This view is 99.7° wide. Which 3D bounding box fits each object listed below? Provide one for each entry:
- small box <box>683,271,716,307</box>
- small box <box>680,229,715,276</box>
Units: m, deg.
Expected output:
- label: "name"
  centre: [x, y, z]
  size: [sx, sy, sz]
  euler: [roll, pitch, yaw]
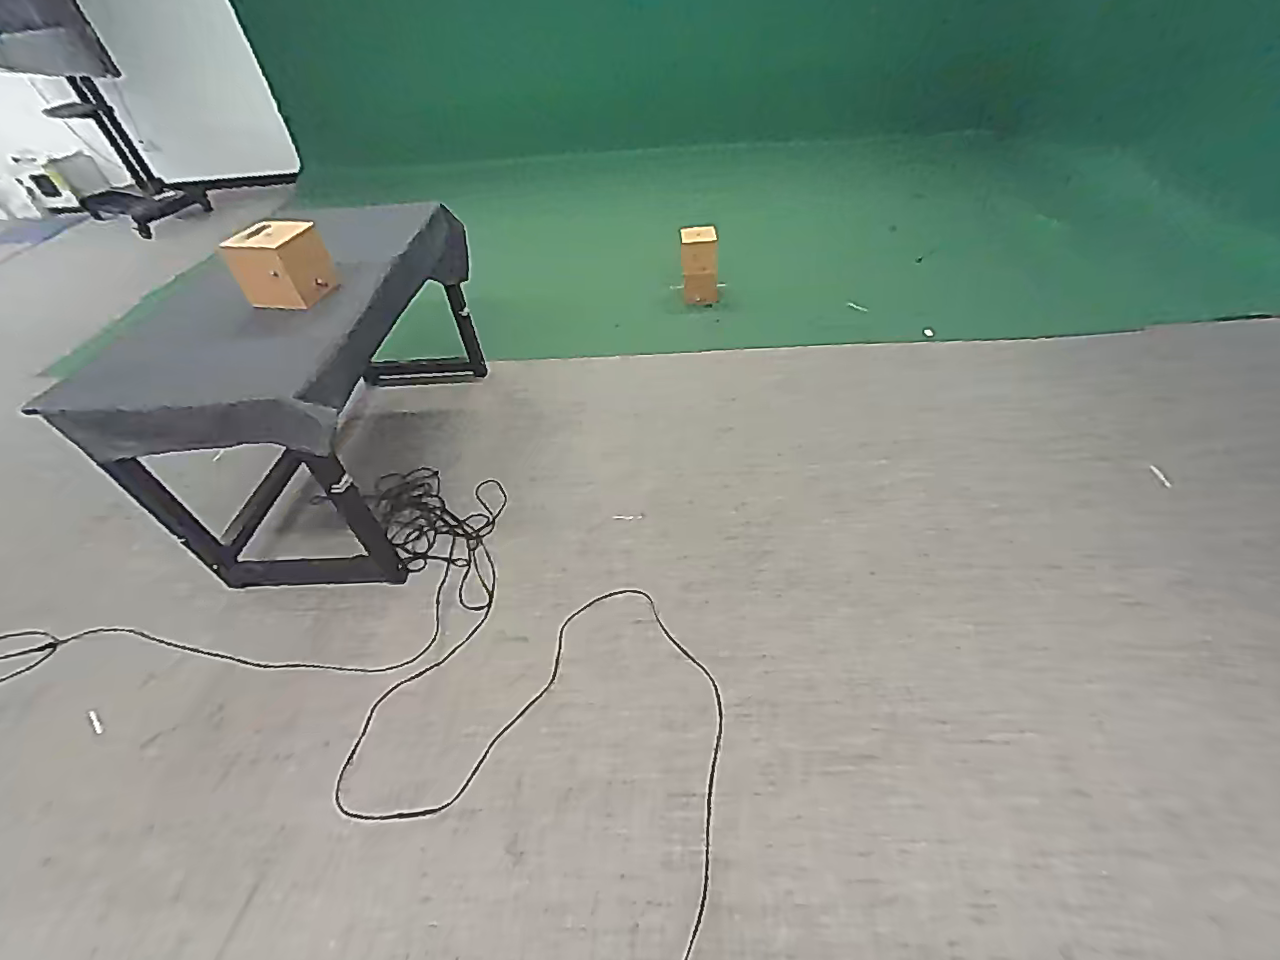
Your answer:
- label: "small box"
  centre: [0.307, -1.019, 2.815]
  size: [0.168, 0.176, 0.179]
  euler: [-3, 46, 4]
- label: "small box"
  centre: [0.286, -1.130, 2.697]
  size: [0.168, 0.176, 0.179]
  euler: [-3, 44, 3]
